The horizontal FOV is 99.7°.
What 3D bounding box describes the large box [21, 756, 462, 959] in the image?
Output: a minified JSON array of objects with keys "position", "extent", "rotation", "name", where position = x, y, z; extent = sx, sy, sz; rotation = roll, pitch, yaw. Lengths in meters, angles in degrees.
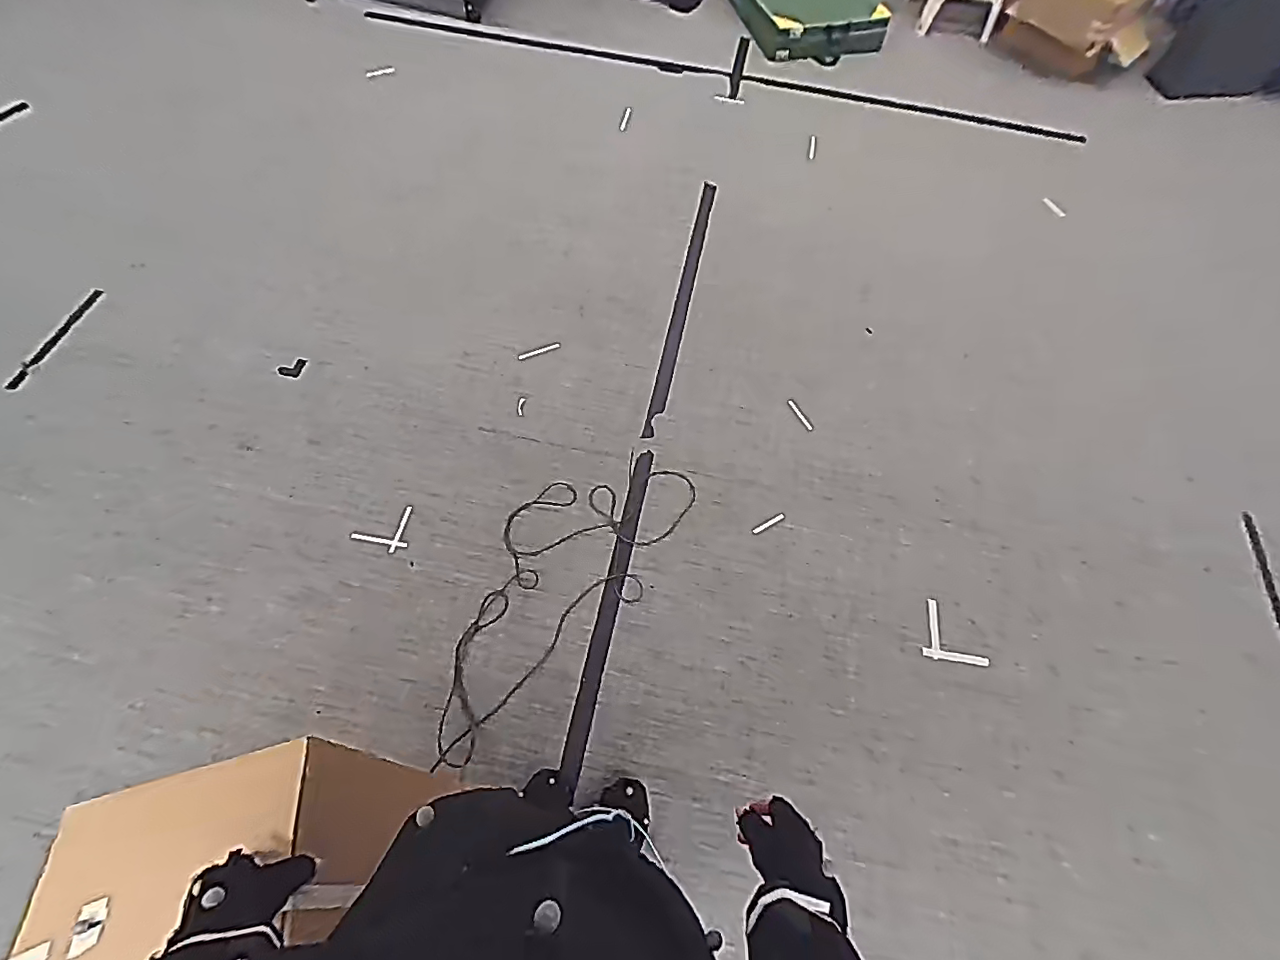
[{"position":[-0.469,0.598,0.705],"extent":[0.320,0.408,0.320],"rotation":[-15,52,0],"name":"large box"}]
